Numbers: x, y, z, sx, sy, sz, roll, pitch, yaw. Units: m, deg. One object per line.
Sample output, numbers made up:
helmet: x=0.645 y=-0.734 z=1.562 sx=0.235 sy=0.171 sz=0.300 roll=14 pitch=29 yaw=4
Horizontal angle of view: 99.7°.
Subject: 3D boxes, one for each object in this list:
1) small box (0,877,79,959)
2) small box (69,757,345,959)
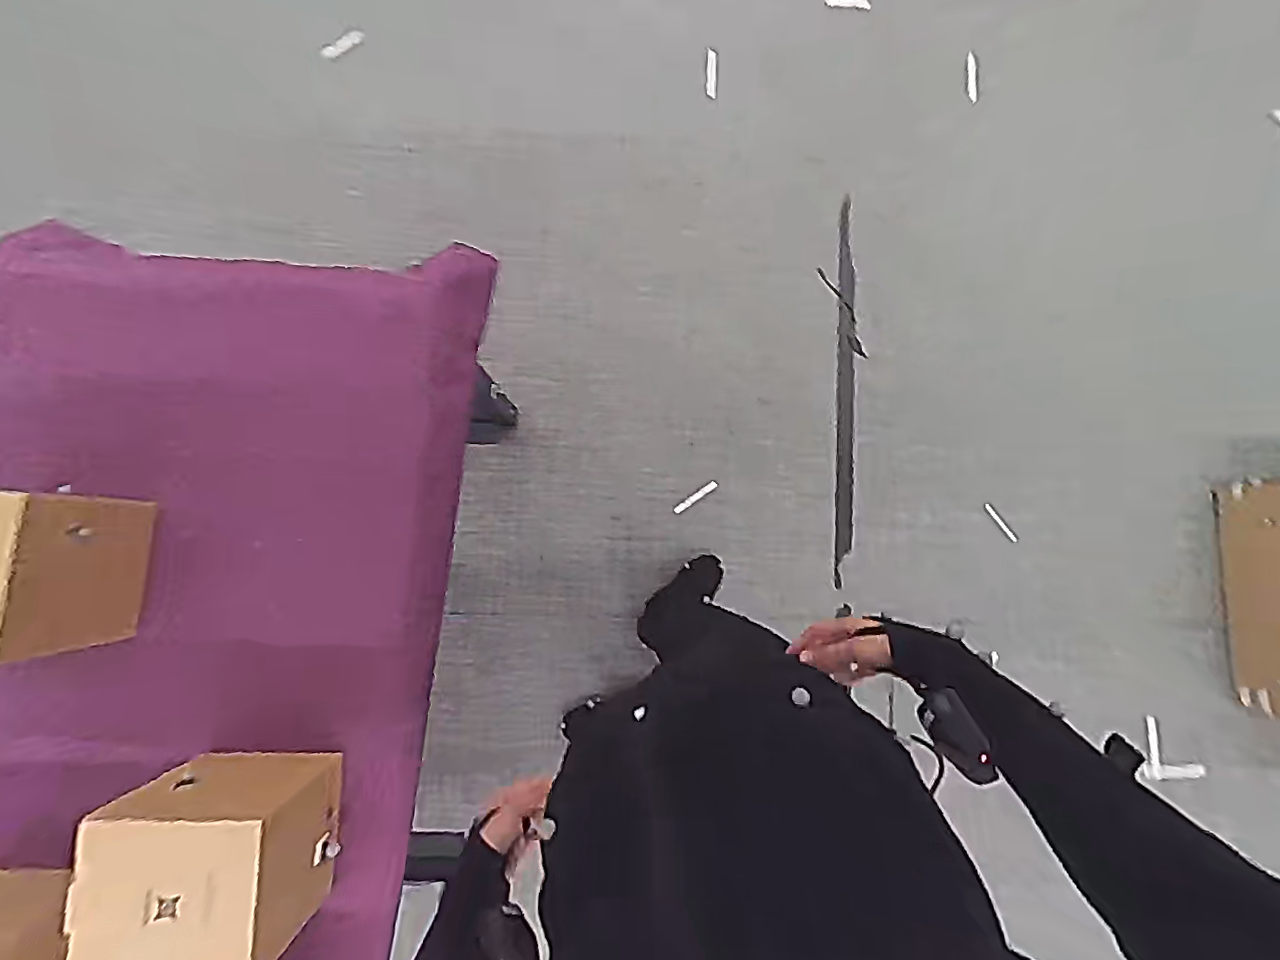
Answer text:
small box: x=-0.731 y=0.563 z=0.581 sx=0.179 sy=0.176 sz=0.168 roll=1 pitch=83 yaw=-2
small box: x=-0.465 y=0.429 z=0.606 sx=0.179 sy=0.176 sz=0.168 roll=1 pitch=84 yaw=-4
